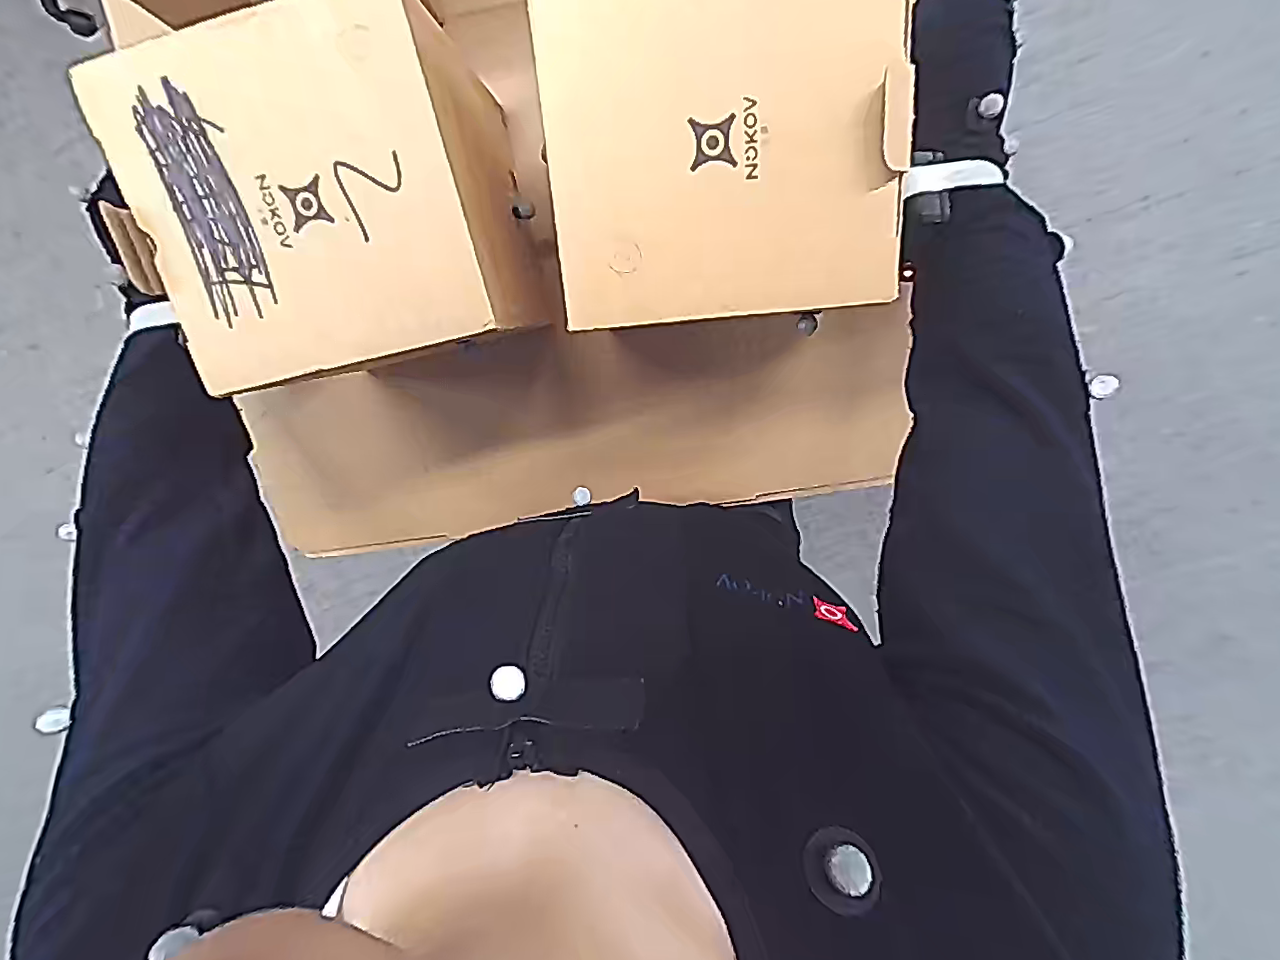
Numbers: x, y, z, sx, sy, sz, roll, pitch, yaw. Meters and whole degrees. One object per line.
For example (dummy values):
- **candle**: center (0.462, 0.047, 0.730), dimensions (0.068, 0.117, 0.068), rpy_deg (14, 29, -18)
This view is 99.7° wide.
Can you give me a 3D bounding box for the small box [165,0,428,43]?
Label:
- **small box**: center (-0.243, -0.392, 0.305), dimensions (0.168, 0.176, 0.179), rpy_deg (-9, 101, 5)
